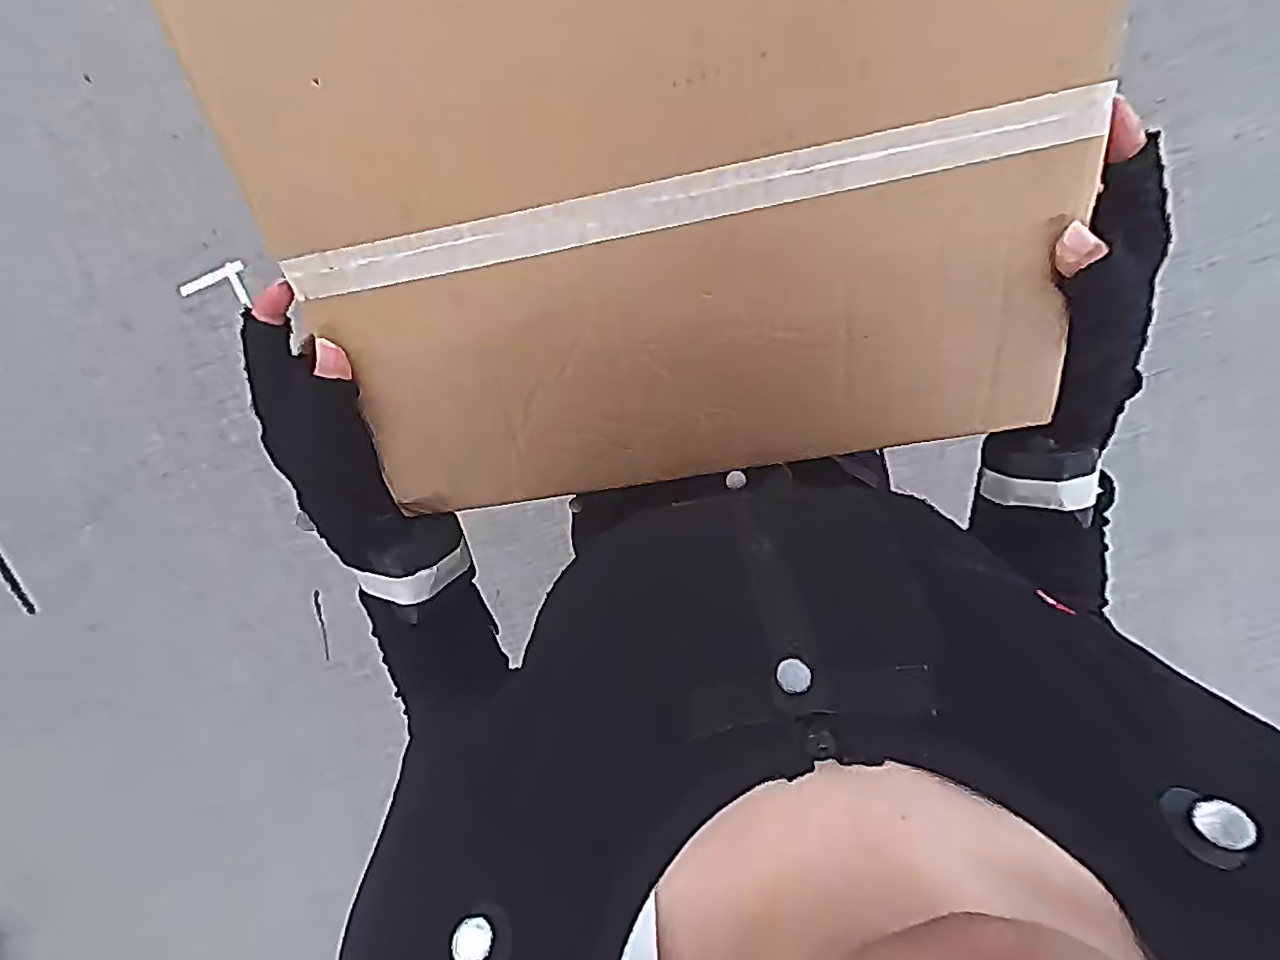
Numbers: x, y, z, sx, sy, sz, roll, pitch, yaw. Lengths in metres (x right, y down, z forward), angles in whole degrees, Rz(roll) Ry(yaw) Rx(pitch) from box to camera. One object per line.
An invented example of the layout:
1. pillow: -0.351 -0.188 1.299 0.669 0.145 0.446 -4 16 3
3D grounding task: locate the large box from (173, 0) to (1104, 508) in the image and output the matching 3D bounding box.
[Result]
1. large box: 0.016 -0.217 0.403 0.408 0.320 0.320 -9 119 7
